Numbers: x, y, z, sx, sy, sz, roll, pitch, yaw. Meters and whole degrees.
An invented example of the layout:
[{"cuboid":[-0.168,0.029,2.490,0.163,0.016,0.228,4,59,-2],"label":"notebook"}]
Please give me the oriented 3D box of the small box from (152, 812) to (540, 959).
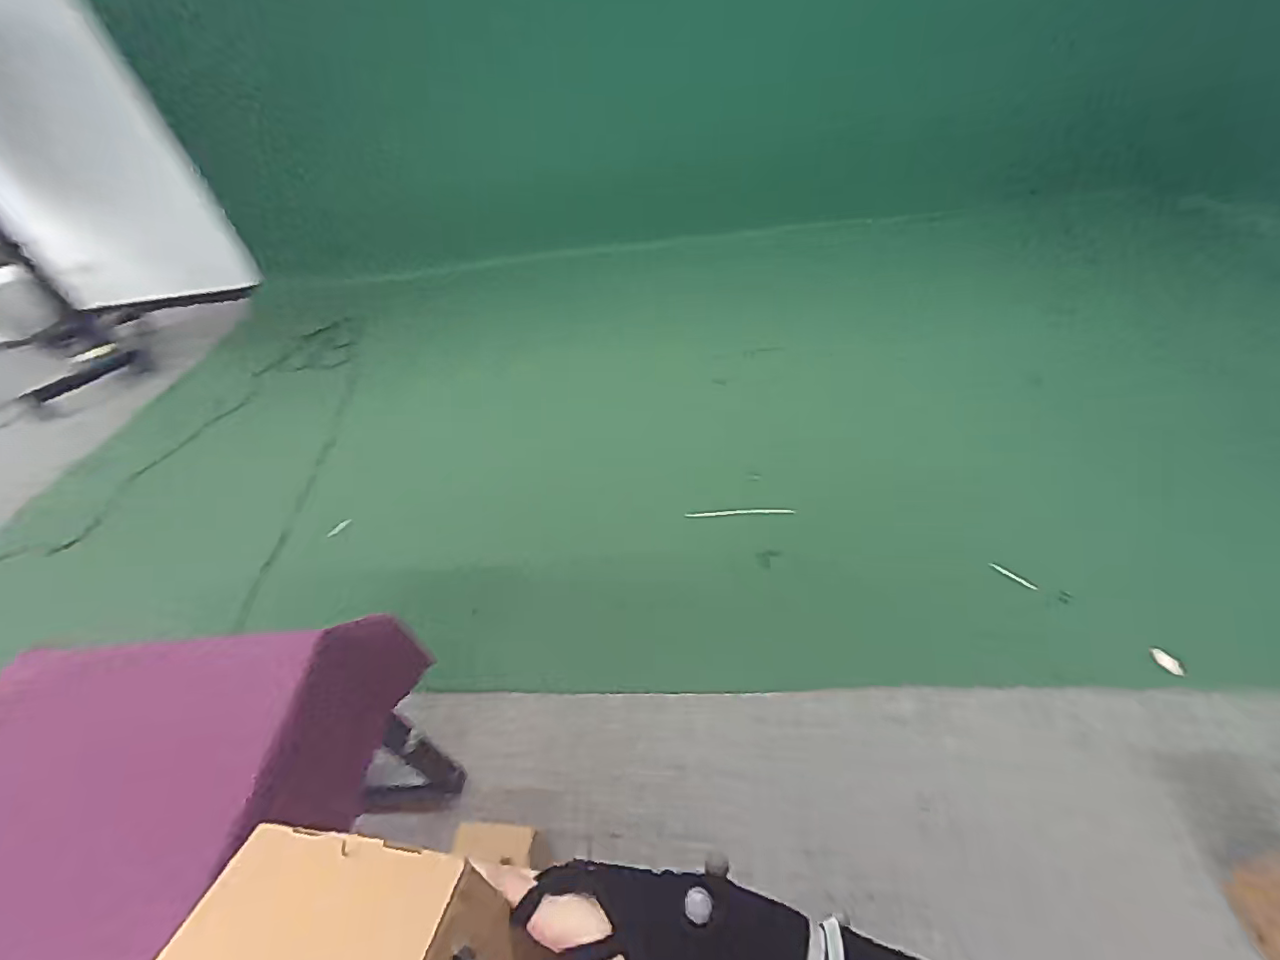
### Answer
[{"cuboid":[-0.171,0.328,0.299,0.168,0.176,0.179,-6,31,23],"label":"small box"}]
